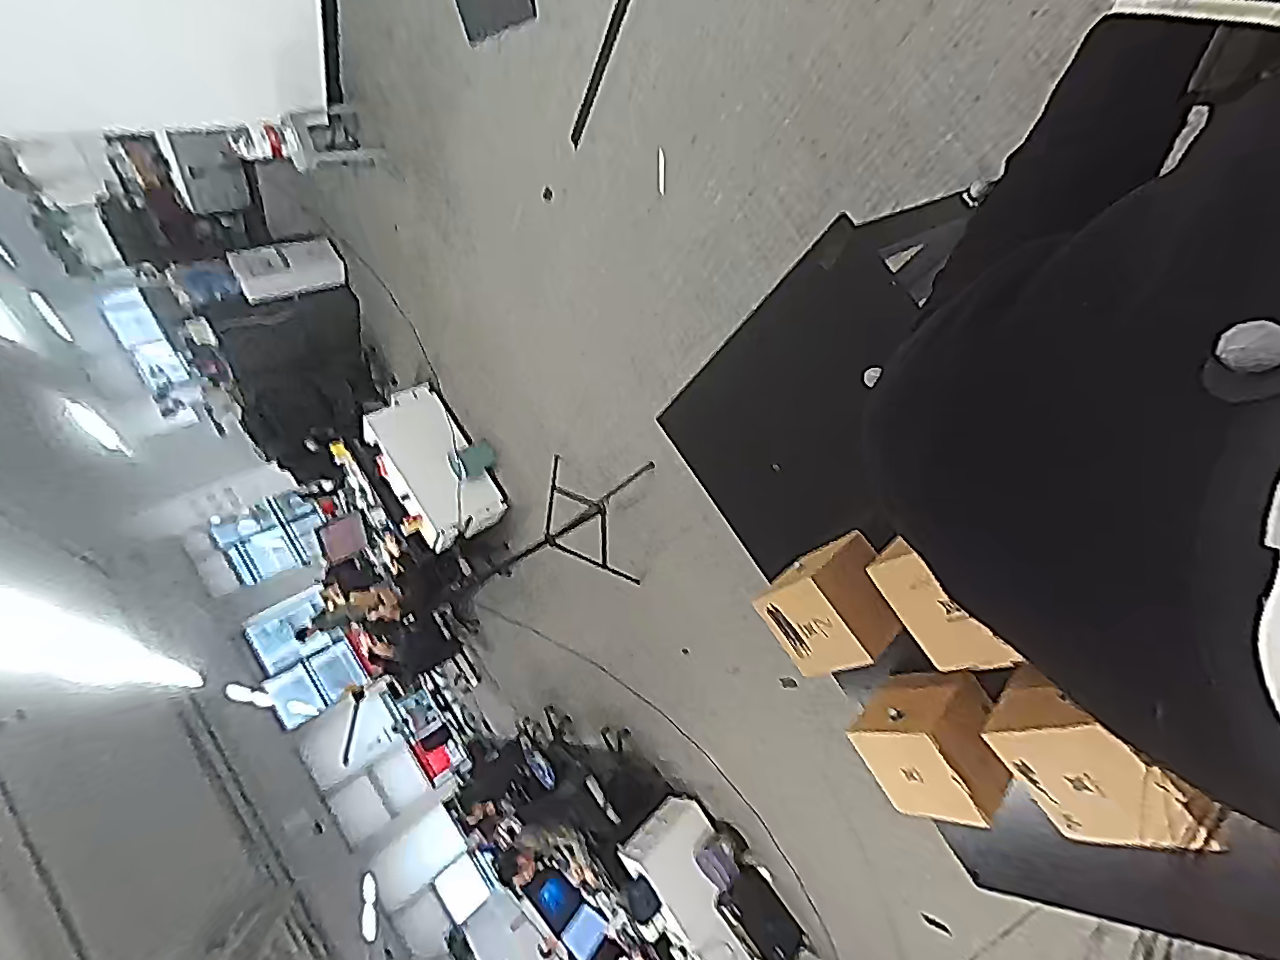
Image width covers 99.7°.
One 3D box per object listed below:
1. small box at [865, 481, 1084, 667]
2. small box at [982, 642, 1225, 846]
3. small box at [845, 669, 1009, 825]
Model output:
[{"bbox_3d":[0.463,0.131,0.751,0.179,0.176,0.168,56,146,8],"label":"small box"},{"bbox_3d":[0.609,0.339,0.713,0.168,0.176,0.179,52,146,11],"label":"small box"},{"bbox_3d":[0.505,0.451,0.938,0.168,0.176,0.179,57,146,6],"label":"small box"}]
